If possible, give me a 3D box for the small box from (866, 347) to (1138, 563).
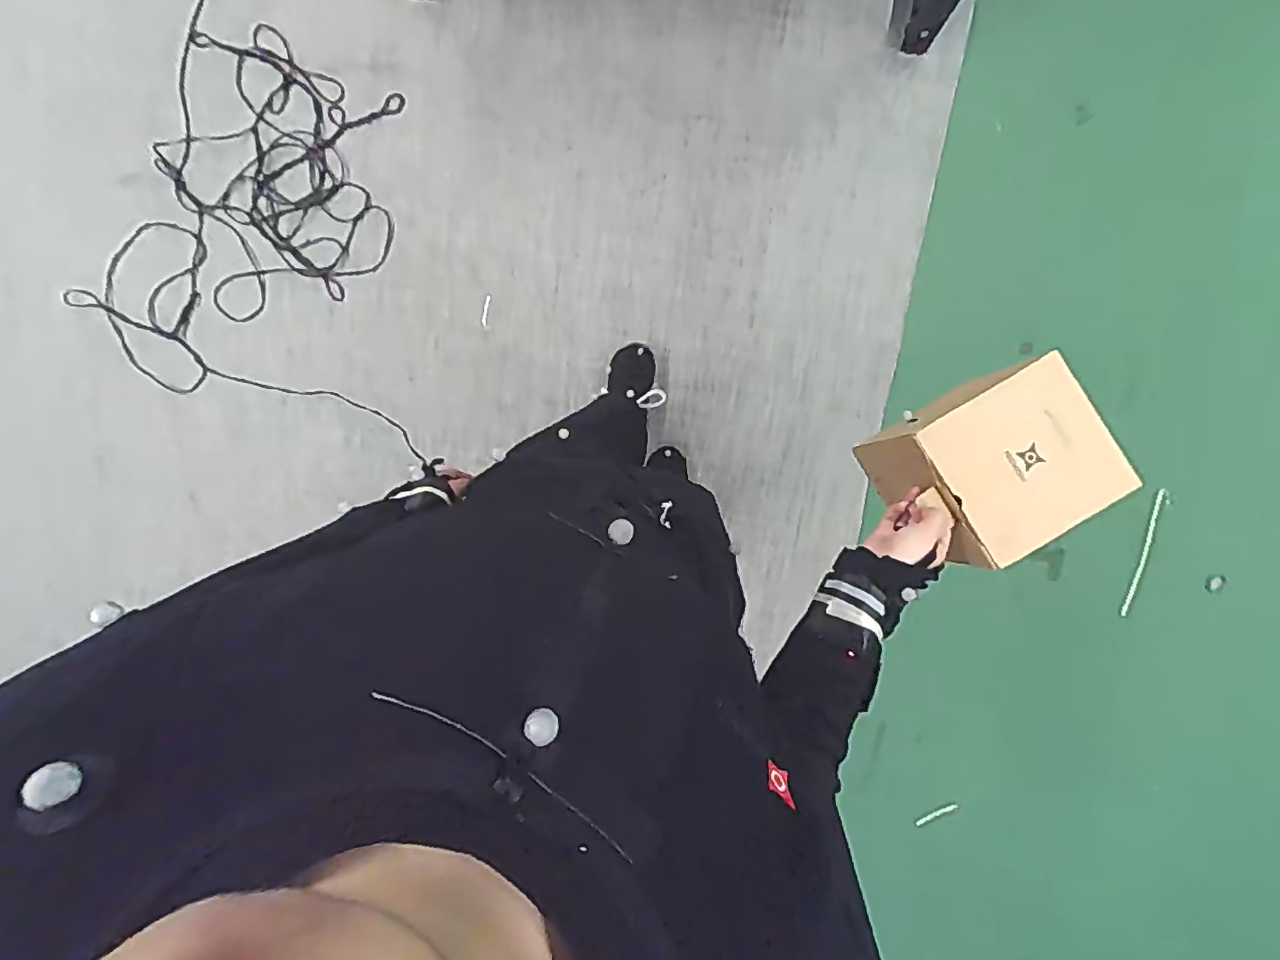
[{"bbox_3d":[0.393,-0.021,0.631,0.179,0.176,0.168,-31,88,-2],"label":"small box"}]
